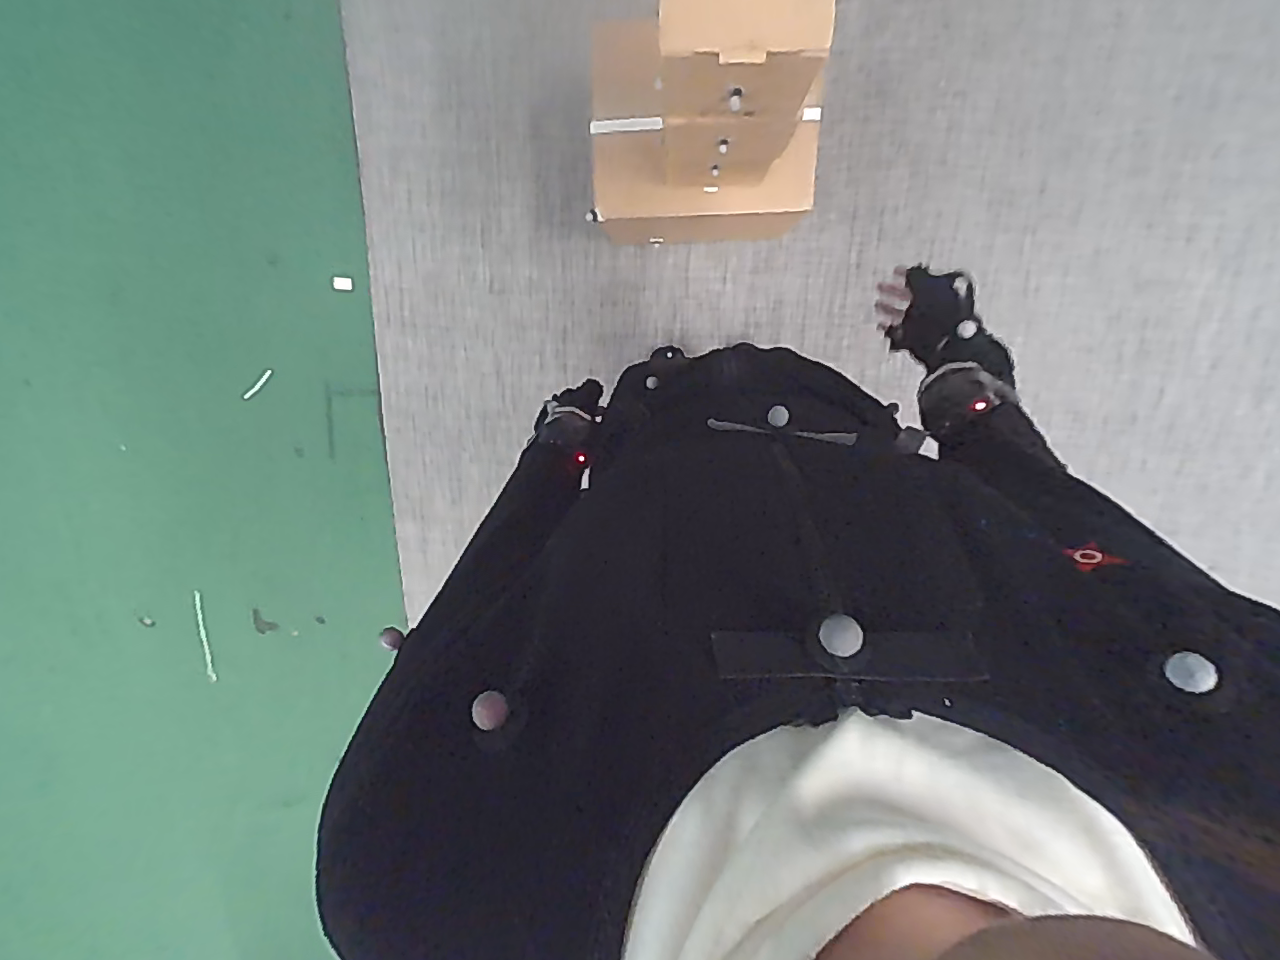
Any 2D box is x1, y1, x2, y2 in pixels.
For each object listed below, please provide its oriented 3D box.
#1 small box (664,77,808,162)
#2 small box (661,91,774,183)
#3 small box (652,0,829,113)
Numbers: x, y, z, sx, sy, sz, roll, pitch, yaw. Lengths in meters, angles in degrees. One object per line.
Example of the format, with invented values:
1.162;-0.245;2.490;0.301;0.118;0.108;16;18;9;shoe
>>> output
0.120;-0.548;0.731;0.179;0.176;0.168;-3;106;5;small box
0.126;-0.598;0.887;0.179;0.176;0.168;1;106;3;small box
0.106;-0.513;0.571;0.168;0.176;0.179;4;107;4;small box
